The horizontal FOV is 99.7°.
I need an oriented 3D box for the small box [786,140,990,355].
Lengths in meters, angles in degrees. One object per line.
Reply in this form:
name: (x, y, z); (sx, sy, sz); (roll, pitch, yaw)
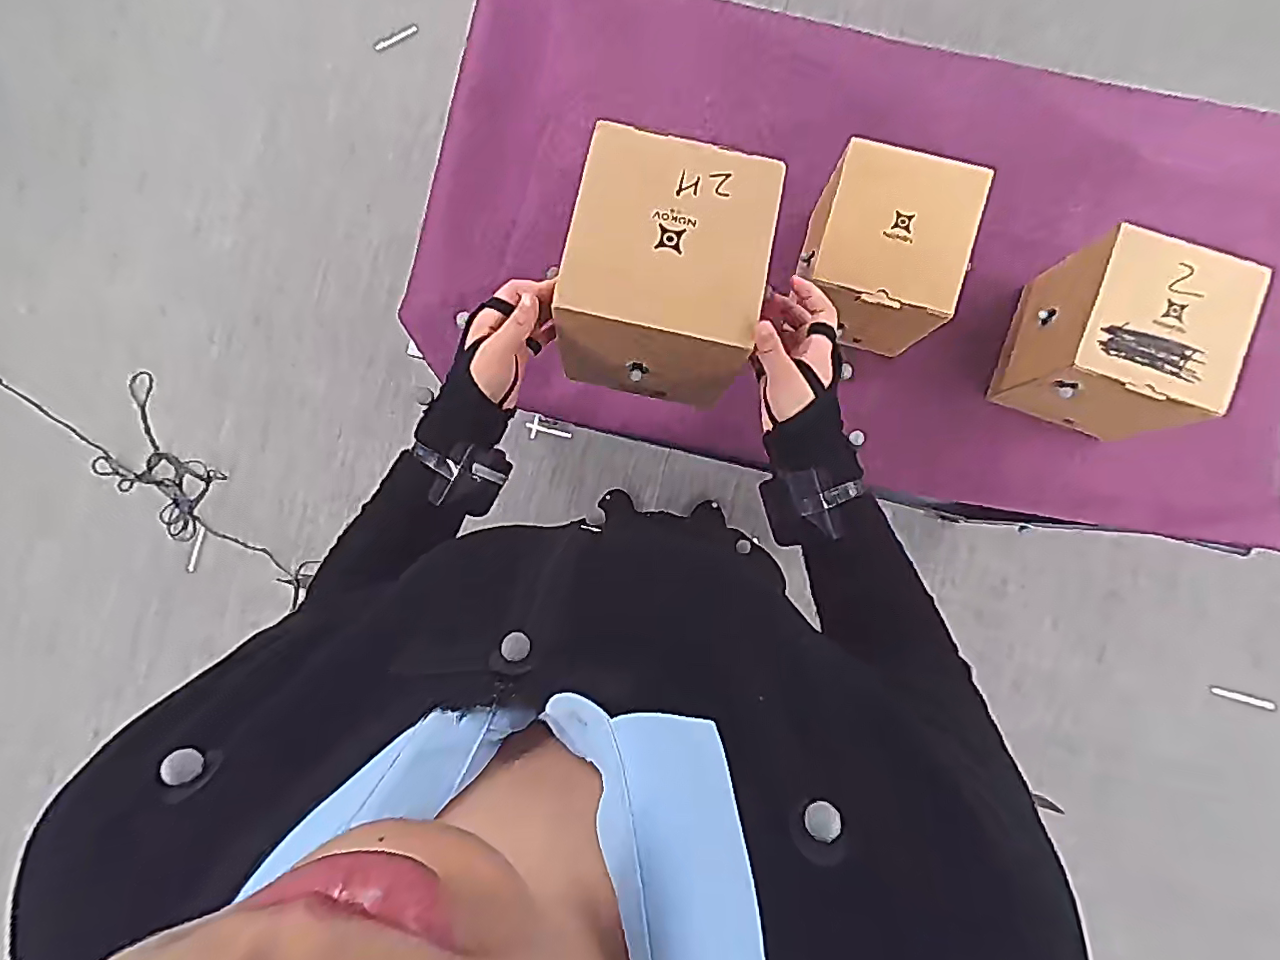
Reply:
small box: (0.299, -0.282, 0.693); (0.168, 0.176, 0.179); (16, 89, 4)

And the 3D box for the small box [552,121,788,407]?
small box: (0.023, -0.186, 0.516); (0.168, 0.176, 0.179); (13, 79, -2)
